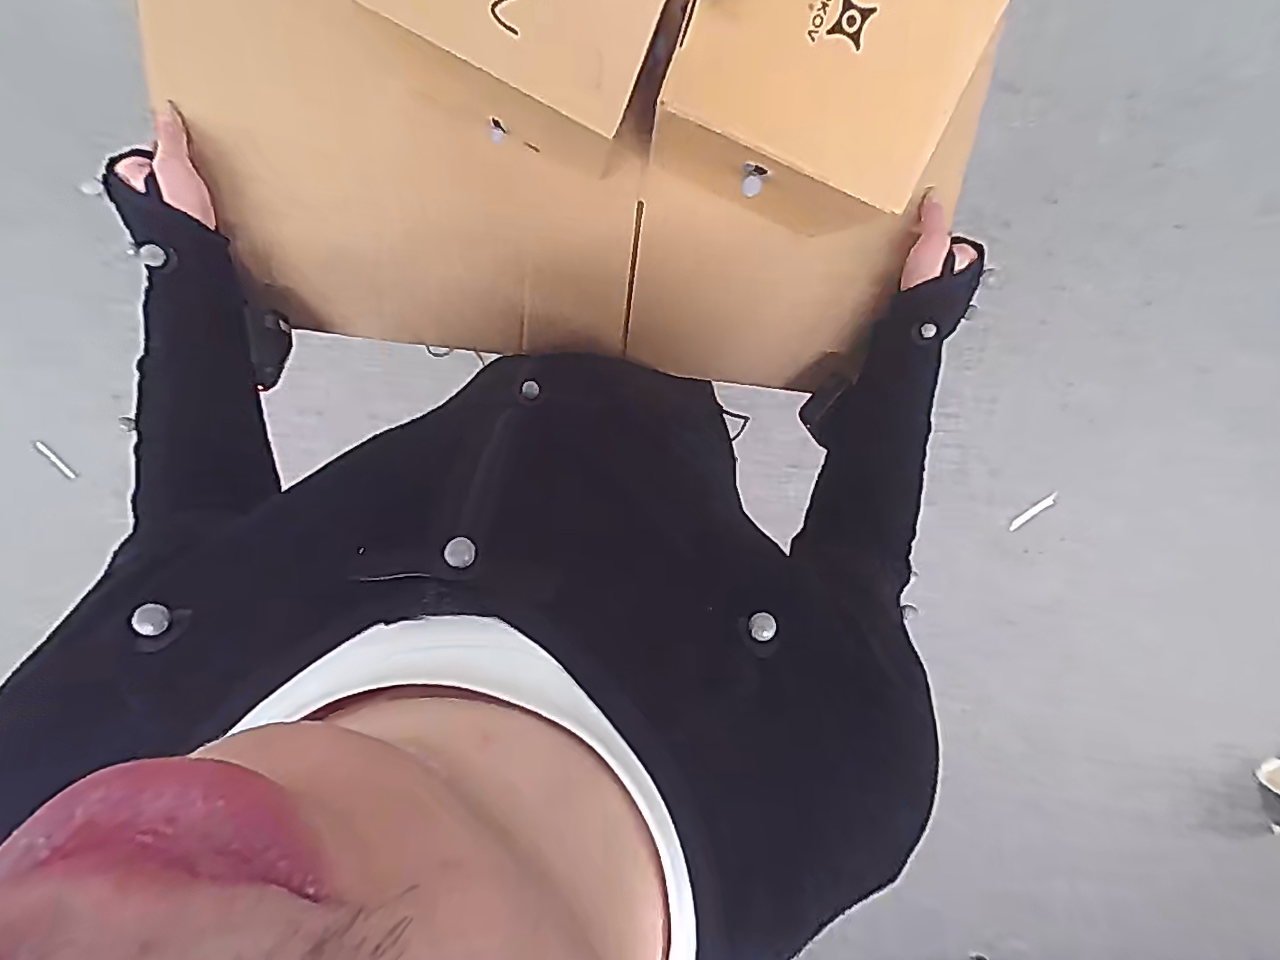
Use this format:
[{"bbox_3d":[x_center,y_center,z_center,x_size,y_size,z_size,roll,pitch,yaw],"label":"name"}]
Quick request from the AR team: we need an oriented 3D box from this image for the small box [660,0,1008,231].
[{"bbox_3d":[0.126,-0.306,0.411,0.179,0.176,0.168,21,107,-7],"label":"small box"}]
